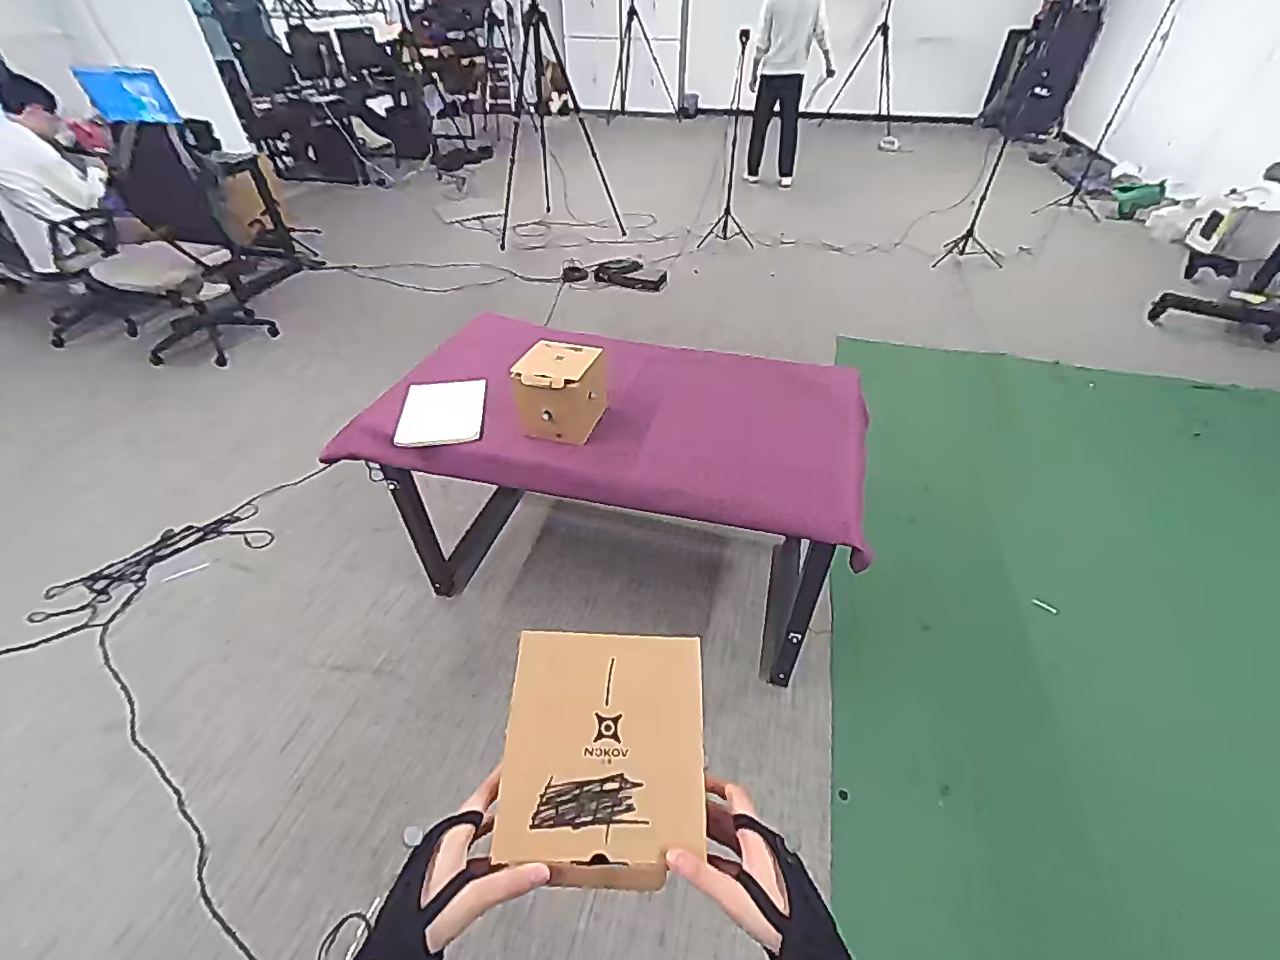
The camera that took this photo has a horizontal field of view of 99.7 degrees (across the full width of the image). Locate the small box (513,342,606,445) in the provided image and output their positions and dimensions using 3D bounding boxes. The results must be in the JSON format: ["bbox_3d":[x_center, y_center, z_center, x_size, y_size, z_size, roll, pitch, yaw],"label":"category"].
[{"bbox_3d":[-0.184,-0.207,1.304,0.168,0.176,0.179,12,44,12],"label":"small box"}]

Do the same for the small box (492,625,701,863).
[{"bbox_3d":[-0.033,0.254,0.525,0.168,0.176,0.179,4,59,-2],"label":"small box"}]
